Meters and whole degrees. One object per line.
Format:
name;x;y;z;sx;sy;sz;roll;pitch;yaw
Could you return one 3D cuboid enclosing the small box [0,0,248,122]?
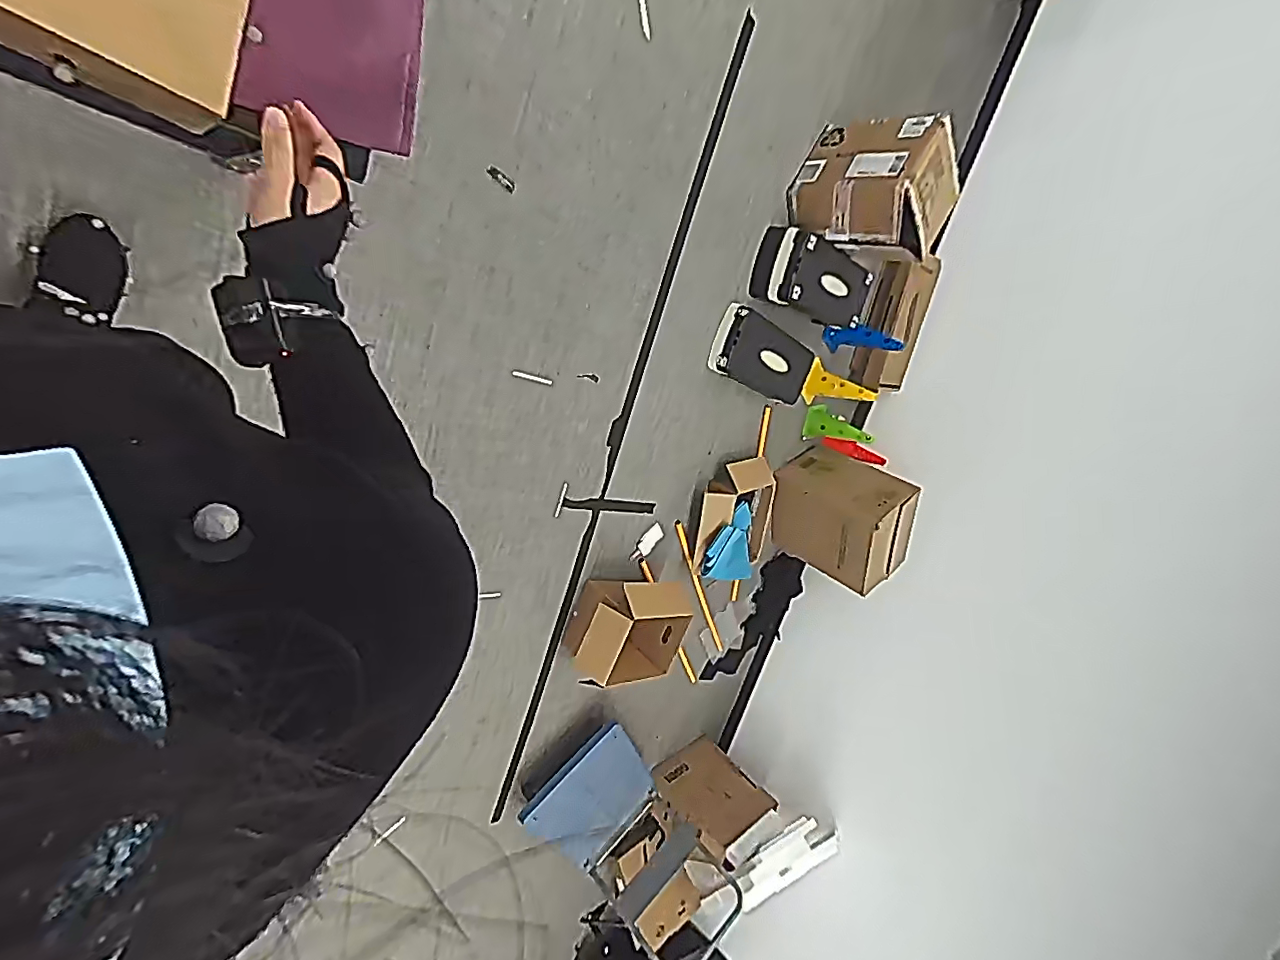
small box;-0.394;-0.397;0.393;0.168;0.176;0.179;10;102;-47
